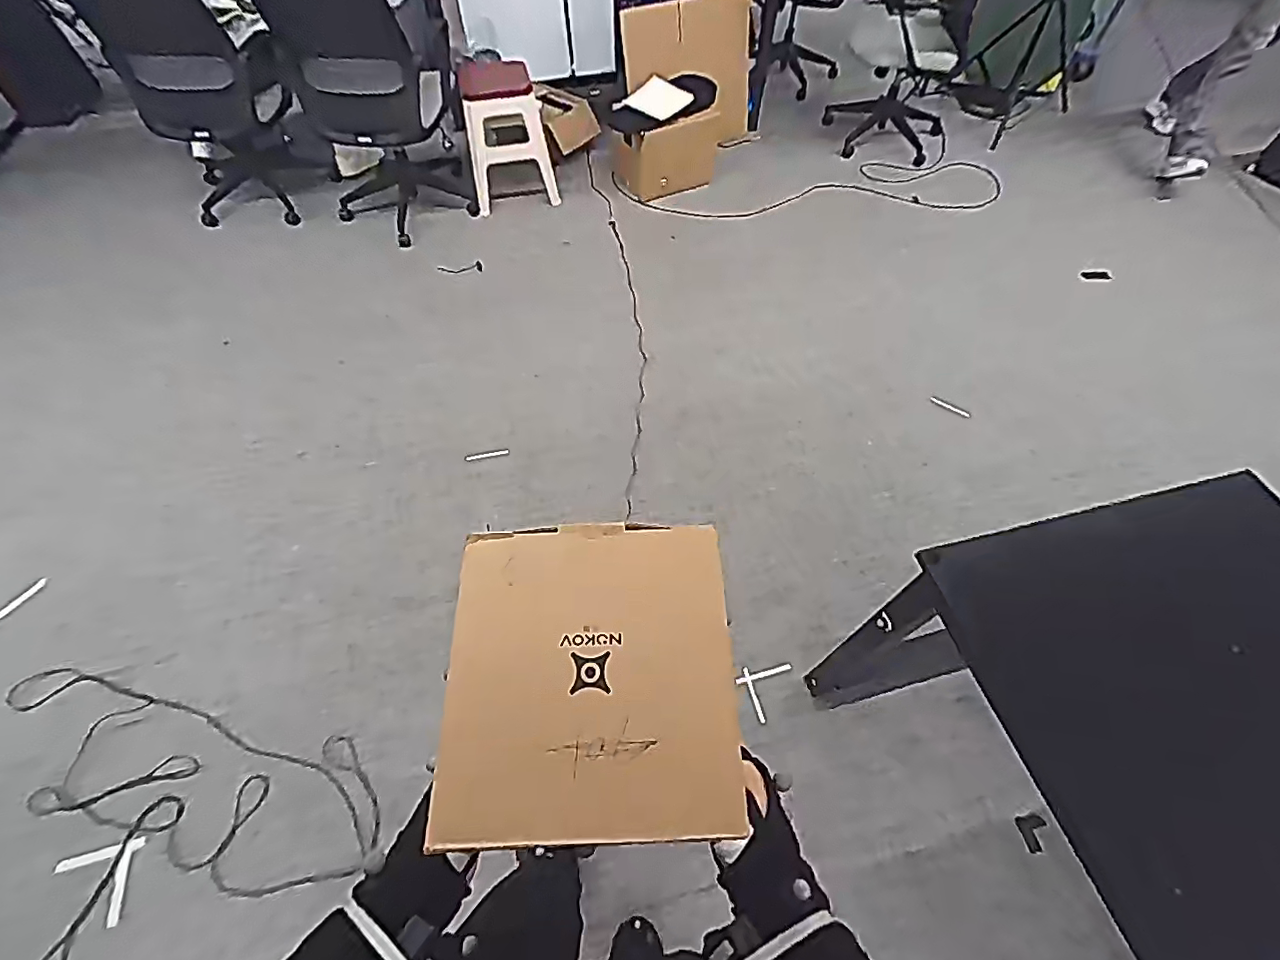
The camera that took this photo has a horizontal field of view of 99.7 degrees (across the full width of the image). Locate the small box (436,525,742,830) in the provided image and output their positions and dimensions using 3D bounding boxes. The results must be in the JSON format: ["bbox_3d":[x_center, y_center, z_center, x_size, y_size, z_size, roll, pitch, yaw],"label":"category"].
[{"bbox_3d":[-0.029,0.147,0.396,0.168,0.176,0.179,-2,61,-1],"label":"small box"}]
